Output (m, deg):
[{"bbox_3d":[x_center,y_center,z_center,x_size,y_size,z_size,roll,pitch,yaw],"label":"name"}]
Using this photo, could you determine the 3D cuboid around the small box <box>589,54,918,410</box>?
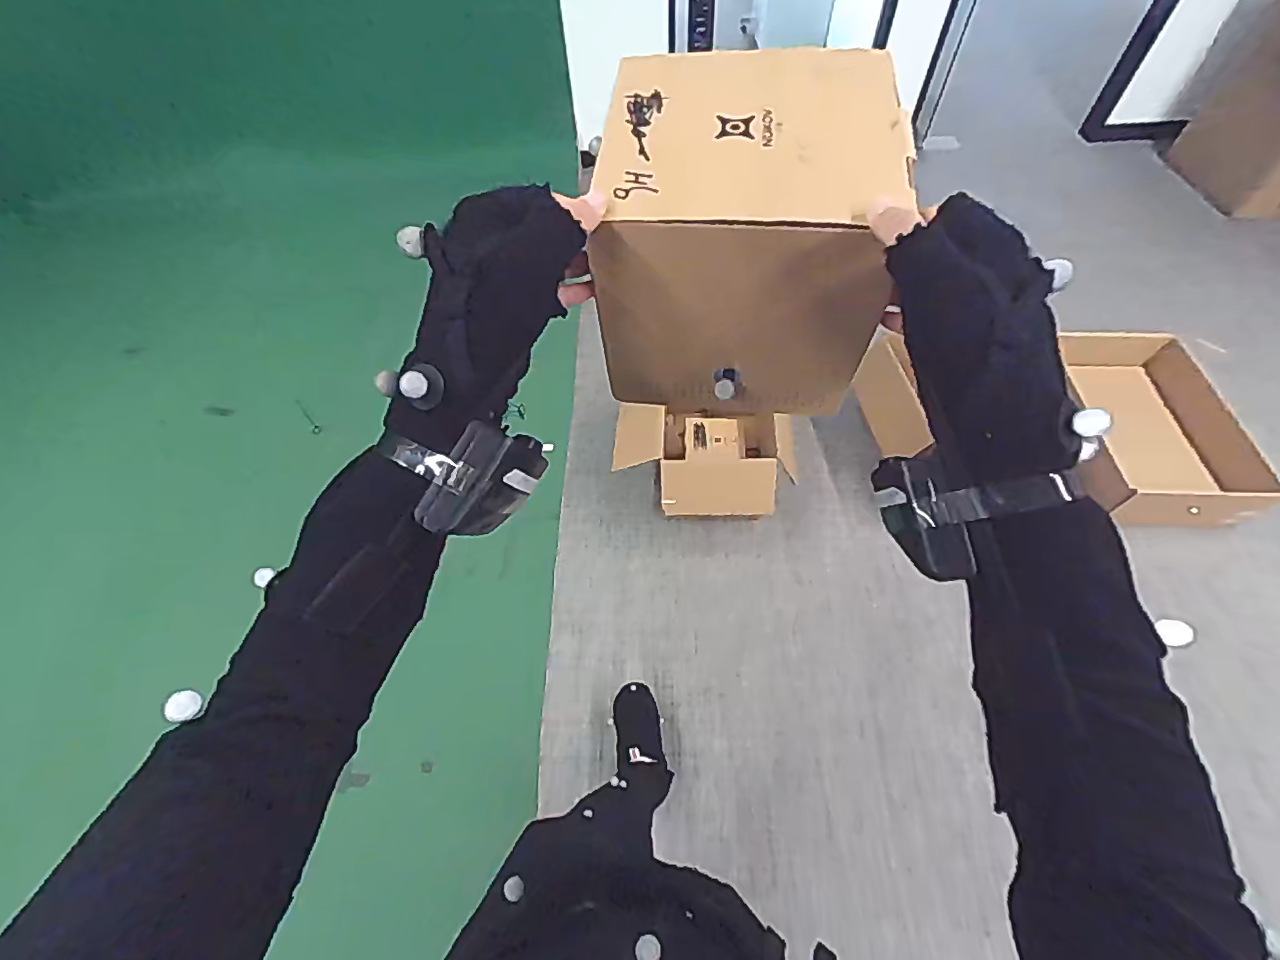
[{"bbox_3d":[0.071,-0.166,0.391,0.179,0.176,0.168,5,62,6],"label":"small box"}]
